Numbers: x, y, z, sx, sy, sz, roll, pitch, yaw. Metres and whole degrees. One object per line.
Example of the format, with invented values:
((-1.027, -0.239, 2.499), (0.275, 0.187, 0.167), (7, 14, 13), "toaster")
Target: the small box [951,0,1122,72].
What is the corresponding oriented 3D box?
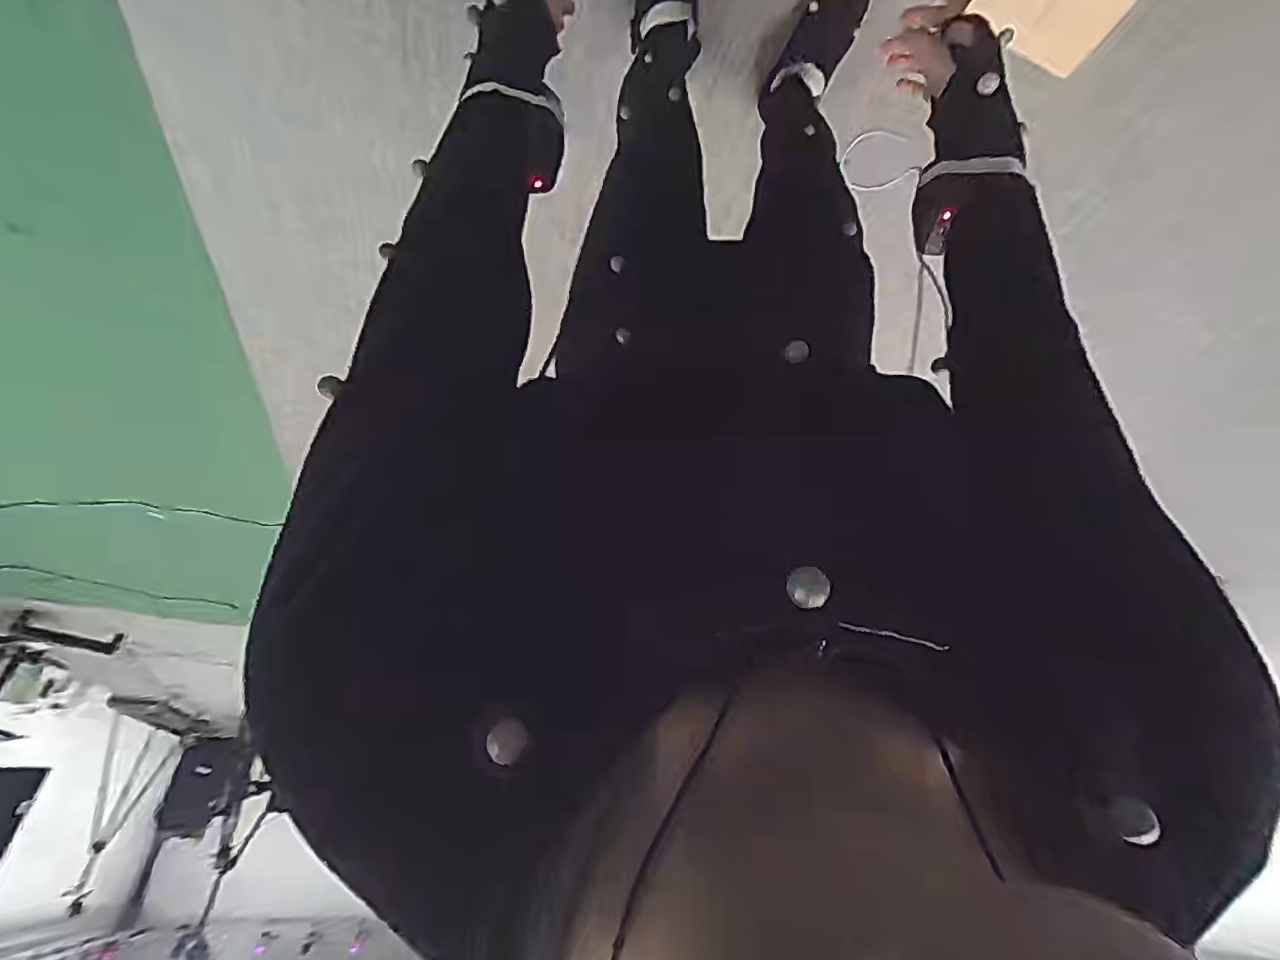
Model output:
((0.458, -0.617, 0.603), (0.168, 0.176, 0.179), (13, 145, -16), "small box")
